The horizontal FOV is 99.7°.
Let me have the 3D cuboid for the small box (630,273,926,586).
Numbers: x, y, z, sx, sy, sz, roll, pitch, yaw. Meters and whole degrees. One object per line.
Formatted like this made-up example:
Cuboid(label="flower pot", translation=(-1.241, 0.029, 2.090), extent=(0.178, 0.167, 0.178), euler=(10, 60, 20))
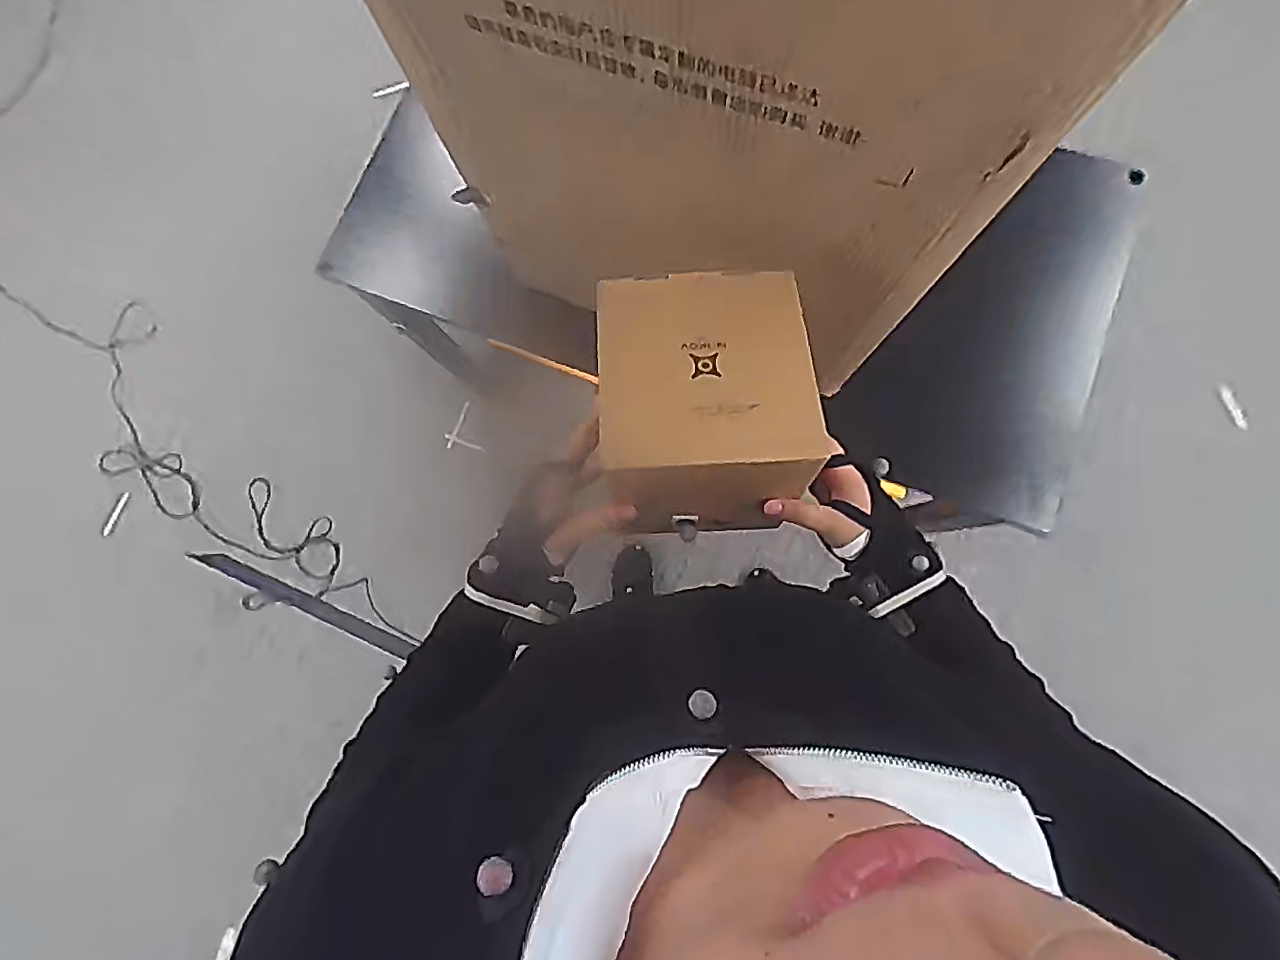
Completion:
Cuboid(label="small box", translation=(0.077, -0.027, 0.408), extent=(0.168, 0.176, 0.179), euler=(-3, 67, 0))
